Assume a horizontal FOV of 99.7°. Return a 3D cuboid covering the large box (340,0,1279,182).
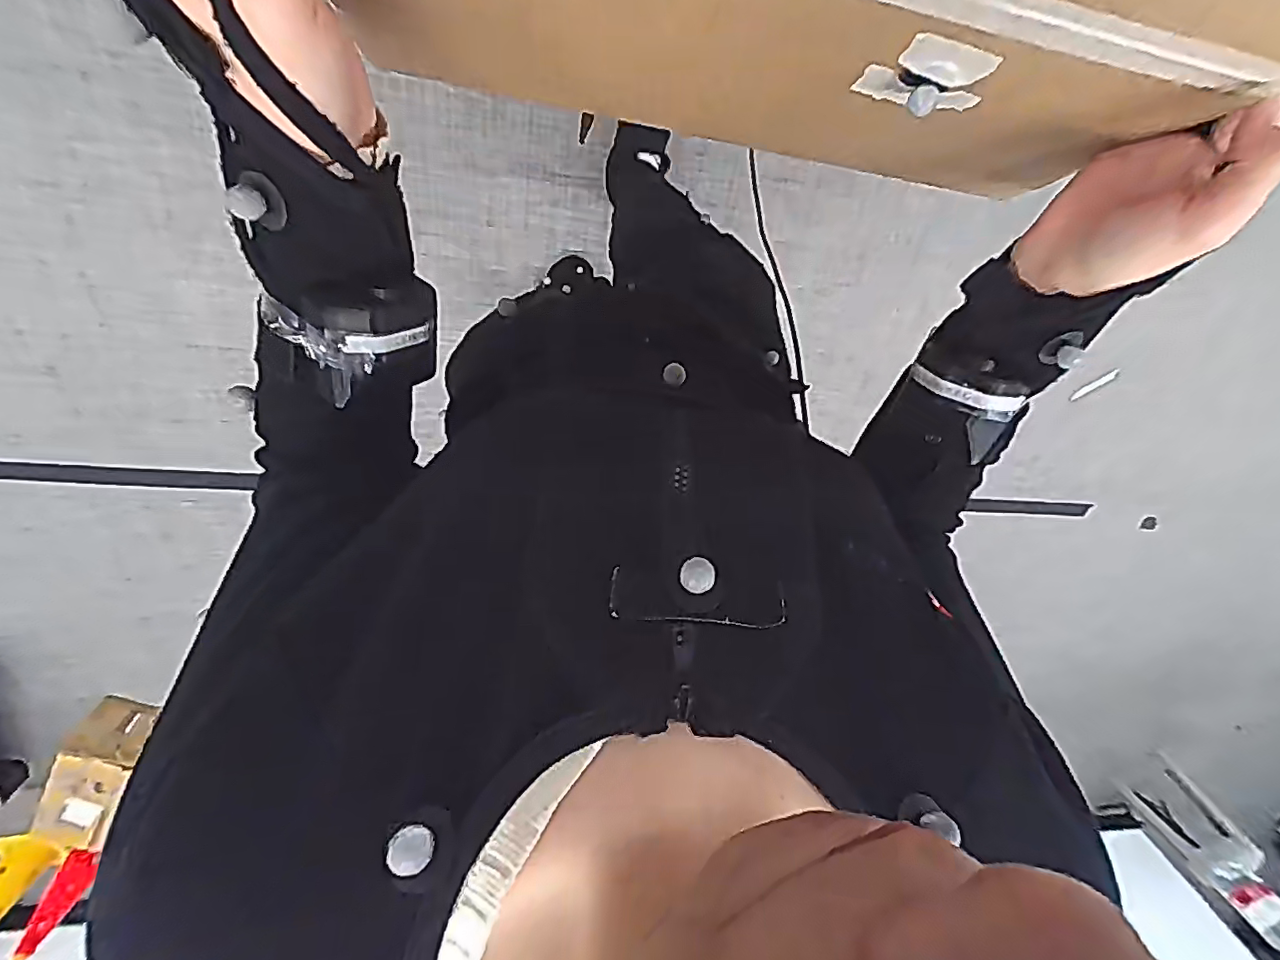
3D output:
[{"bbox_3d":[0.083,-0.339,0.166,0.408,0.320,0.320,4,101,-10],"label":"large box"}]
